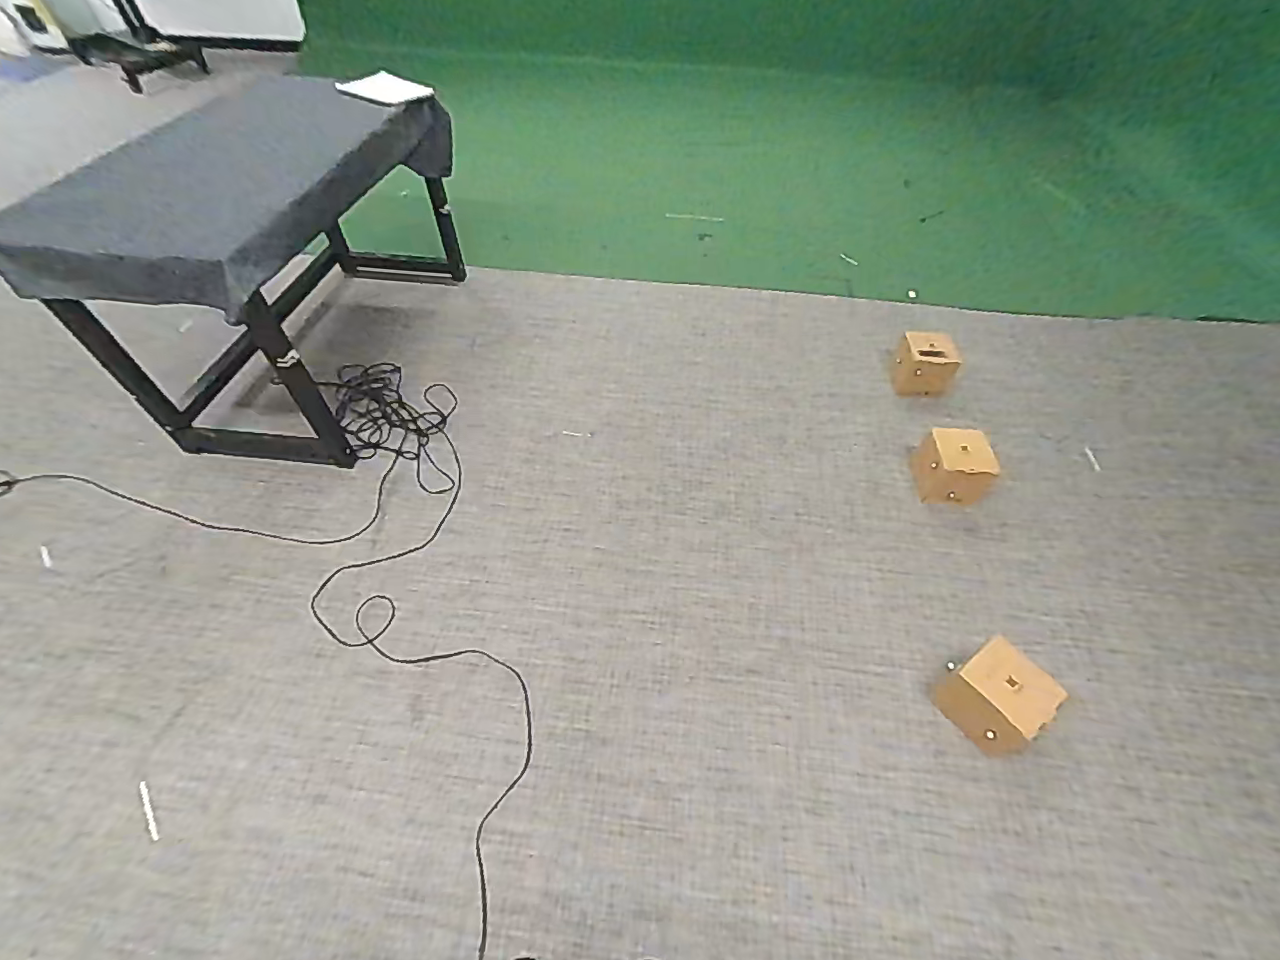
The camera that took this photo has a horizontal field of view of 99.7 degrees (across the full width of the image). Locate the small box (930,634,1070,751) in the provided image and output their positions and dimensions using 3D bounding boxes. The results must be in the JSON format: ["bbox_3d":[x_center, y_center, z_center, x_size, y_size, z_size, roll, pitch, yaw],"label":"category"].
[{"bbox_3d":[0.822,0.498,1.250,0.168,0.176,0.179,-29,57,-24],"label":"small box"}]

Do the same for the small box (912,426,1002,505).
[{"bbox_3d":[0.978,-0.046,1.689,0.168,0.176,0.179,4,52,2],"label":"small box"}]
